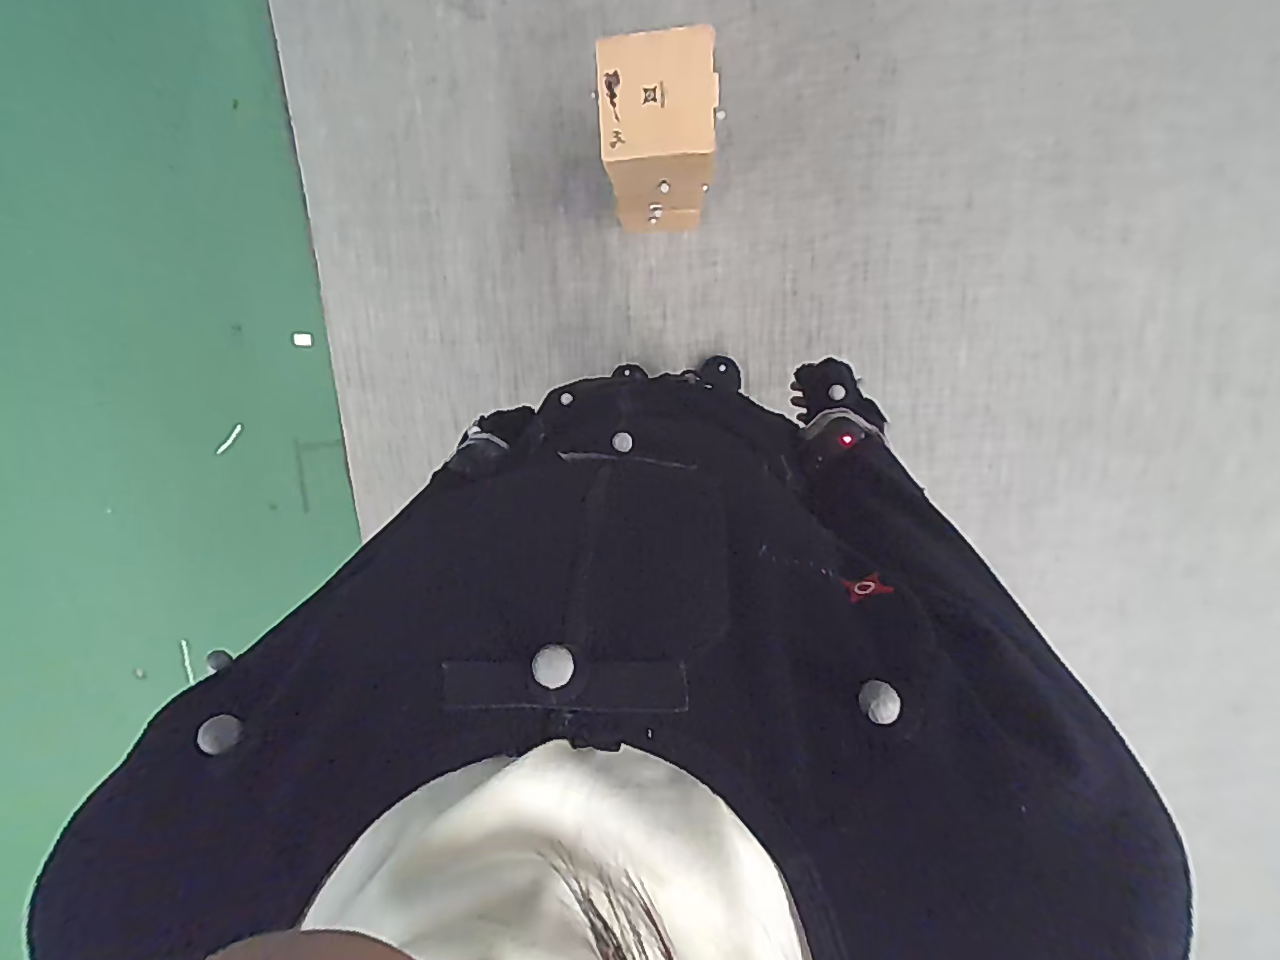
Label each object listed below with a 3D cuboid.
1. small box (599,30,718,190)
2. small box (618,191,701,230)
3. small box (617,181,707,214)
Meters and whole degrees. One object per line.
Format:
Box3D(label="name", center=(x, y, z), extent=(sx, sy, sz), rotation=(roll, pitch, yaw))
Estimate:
Box3D(label="small box", center=(0.036, -0.588, 0.883), extent=(0.179, 0.176, 0.168), rotation=(0, 103, 7))
Box3D(label="small box", center=(0.048, -0.662, 1.200), extent=(0.179, 0.176, 0.168), rotation=(1, 104, 5))
Box3D(label="small box", center=(0.045, -0.630, 1.042), extent=(0.168, 0.176, 0.179), rotation=(-1, 104, 8))
